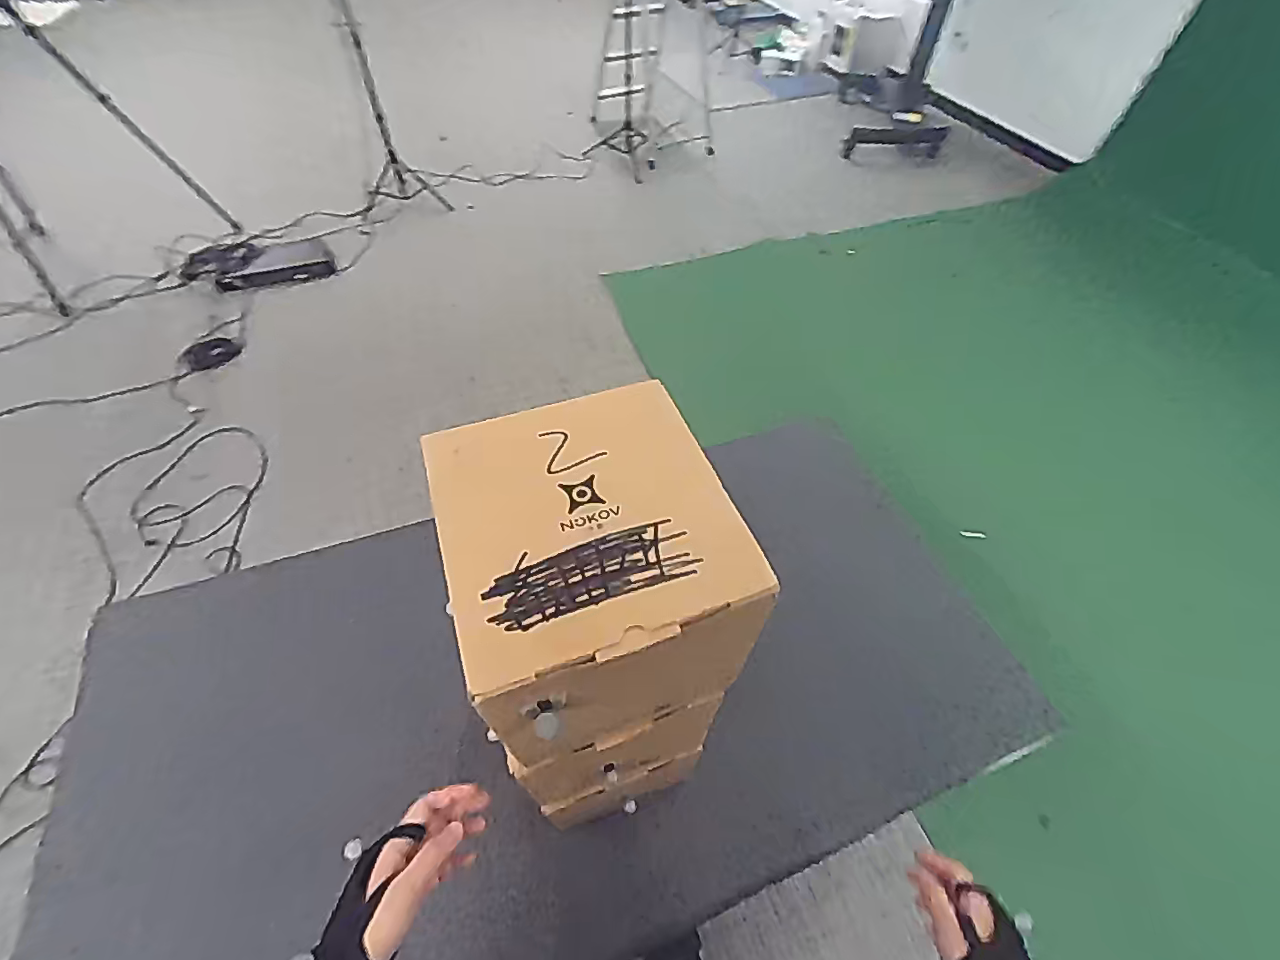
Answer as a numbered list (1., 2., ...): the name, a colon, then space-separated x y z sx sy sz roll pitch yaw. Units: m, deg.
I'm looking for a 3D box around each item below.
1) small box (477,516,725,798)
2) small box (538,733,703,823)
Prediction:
1. small box: -0.042 0.166 0.504 0.168 0.176 0.179 -15 55 -14
2. small box: -0.043 0.267 0.628 0.168 0.176 0.179 -16 54 -12
